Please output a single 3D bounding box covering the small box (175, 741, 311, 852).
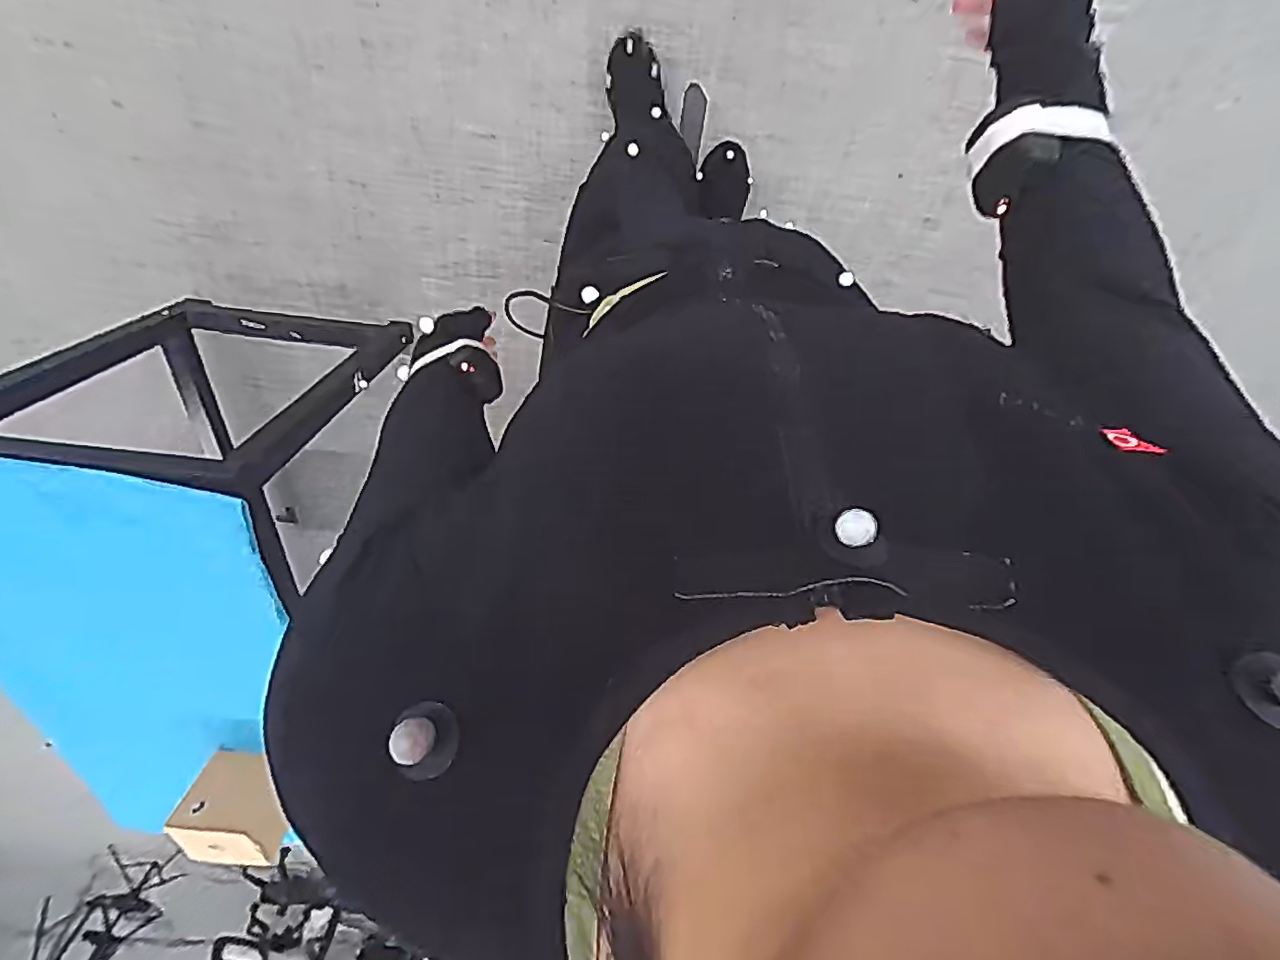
[{"bbox_3d":[-0.907,0.730,1.255,0.179,0.176,0.168,7,126,-5],"label":"small box"}]
